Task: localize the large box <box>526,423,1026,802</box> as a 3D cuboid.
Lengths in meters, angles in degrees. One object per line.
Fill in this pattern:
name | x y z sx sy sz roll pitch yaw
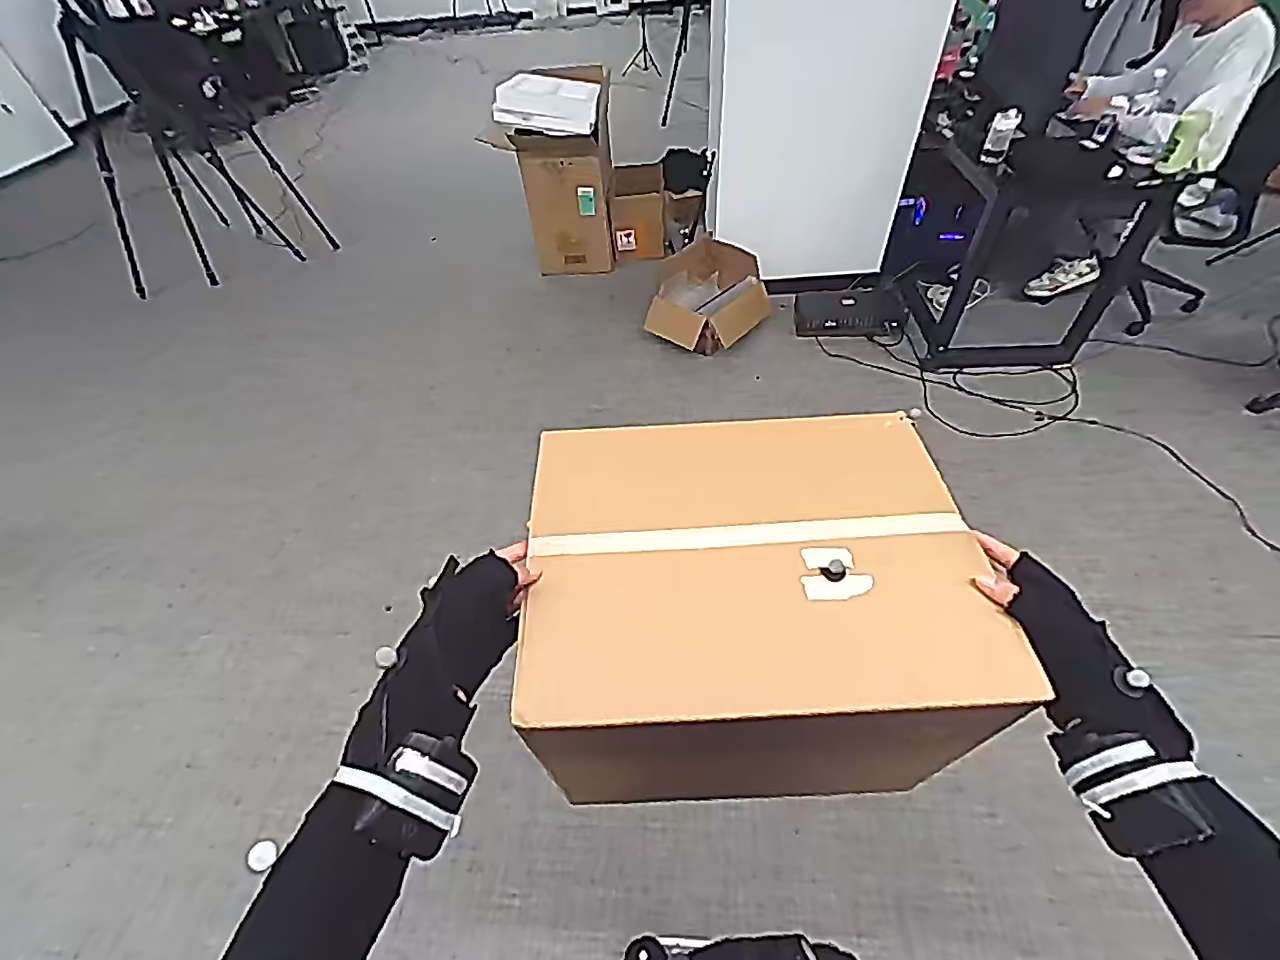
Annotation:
large box | 0.103 0.158 0.628 0.408 0.320 0.320 -3 50 0
